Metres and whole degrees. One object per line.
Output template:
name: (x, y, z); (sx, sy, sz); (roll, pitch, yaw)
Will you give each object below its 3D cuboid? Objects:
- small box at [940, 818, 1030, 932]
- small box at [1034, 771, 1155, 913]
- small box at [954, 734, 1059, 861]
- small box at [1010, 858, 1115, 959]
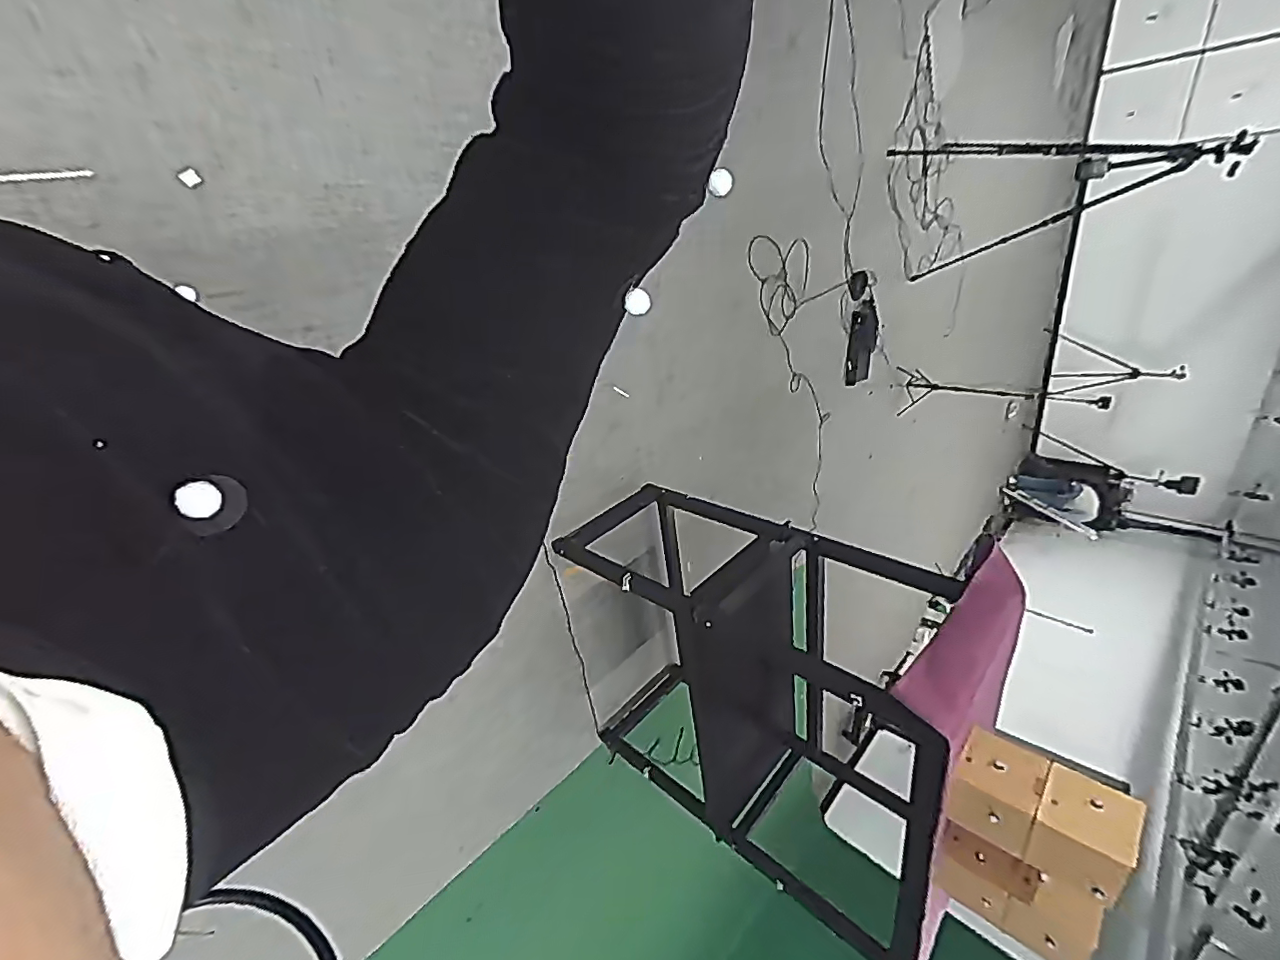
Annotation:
small box: (0.920, 1.029, 1.441); (0.168, 0.176, 0.179); (-31, 124, -36)
small box: (0.993, 0.783, 1.193); (0.168, 0.176, 0.179); (-33, 126, -35)
small box: (0.875, 0.749, 1.301); (0.168, 0.176, 0.179); (-32, 124, -35)
small box: (1.035, 1.065, 1.330); (0.168, 0.176, 0.179); (-32, 123, -35)
